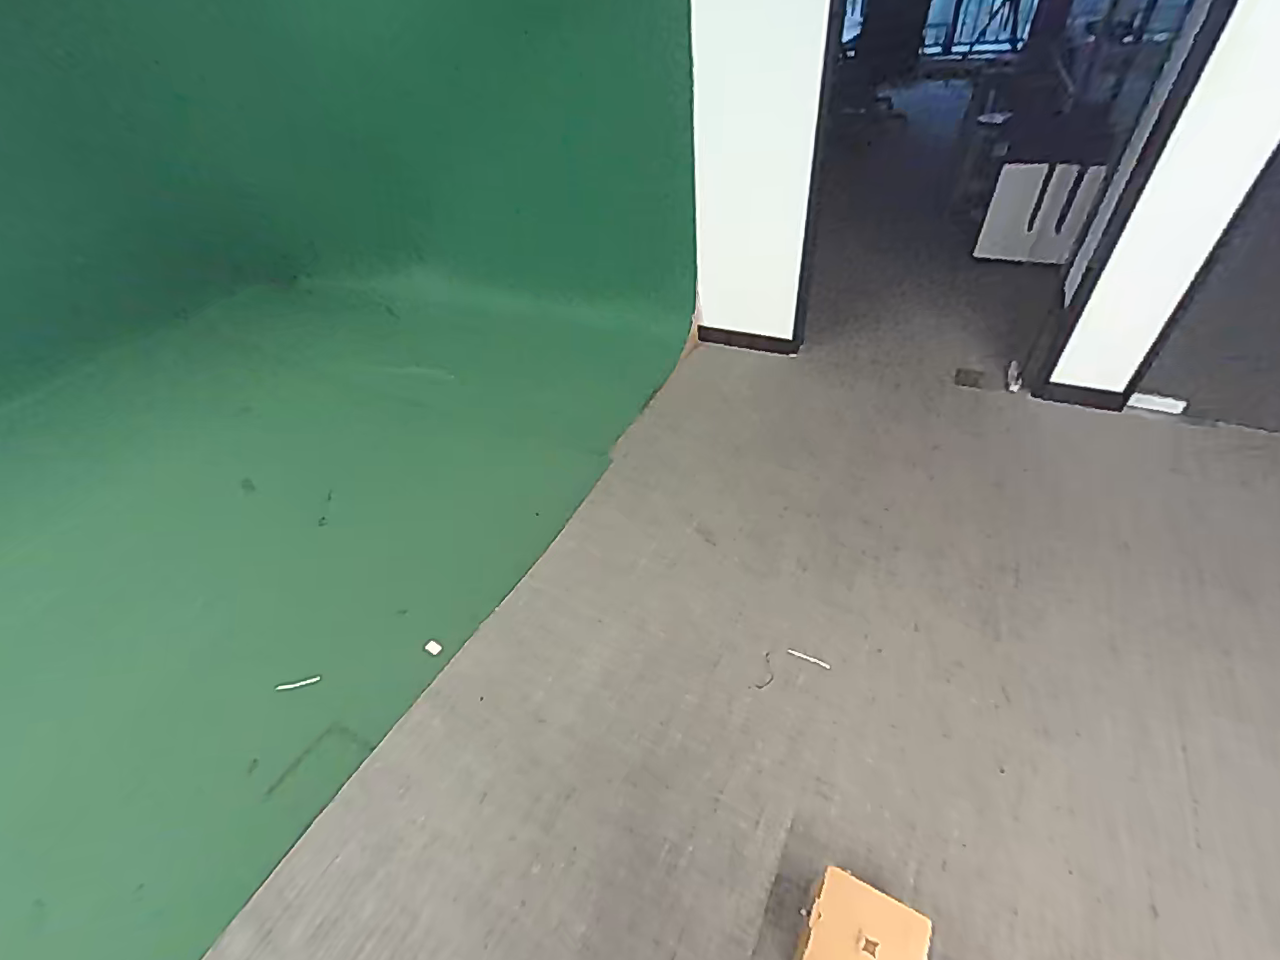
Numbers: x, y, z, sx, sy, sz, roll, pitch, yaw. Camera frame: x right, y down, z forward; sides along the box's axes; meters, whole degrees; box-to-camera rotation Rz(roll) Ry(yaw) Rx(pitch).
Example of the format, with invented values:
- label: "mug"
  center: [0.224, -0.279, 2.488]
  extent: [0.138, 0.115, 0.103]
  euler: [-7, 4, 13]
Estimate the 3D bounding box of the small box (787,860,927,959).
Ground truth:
- label: "small box"
  center: [0.371, 0.809, 0.940]
  extent: [0.179, 0.176, 0.168]
  euler: [17, 49, 24]
